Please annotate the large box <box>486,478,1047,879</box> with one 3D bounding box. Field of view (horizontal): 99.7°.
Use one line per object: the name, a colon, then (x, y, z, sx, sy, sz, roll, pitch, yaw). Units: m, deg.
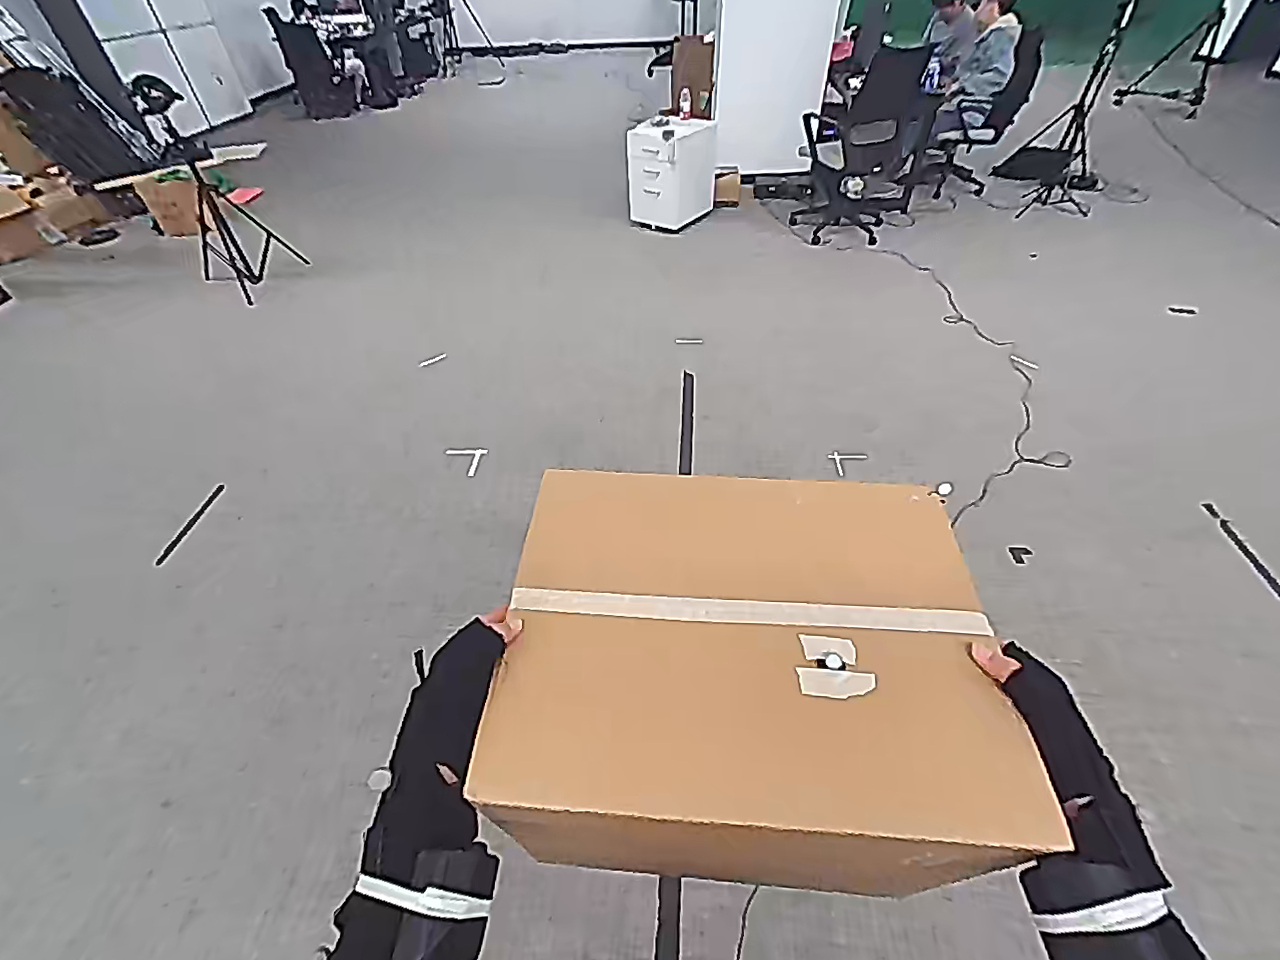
large box: (0.094, 0.217, 0.588, 0.408, 0.320, 0.320, 3, 49, 3)
